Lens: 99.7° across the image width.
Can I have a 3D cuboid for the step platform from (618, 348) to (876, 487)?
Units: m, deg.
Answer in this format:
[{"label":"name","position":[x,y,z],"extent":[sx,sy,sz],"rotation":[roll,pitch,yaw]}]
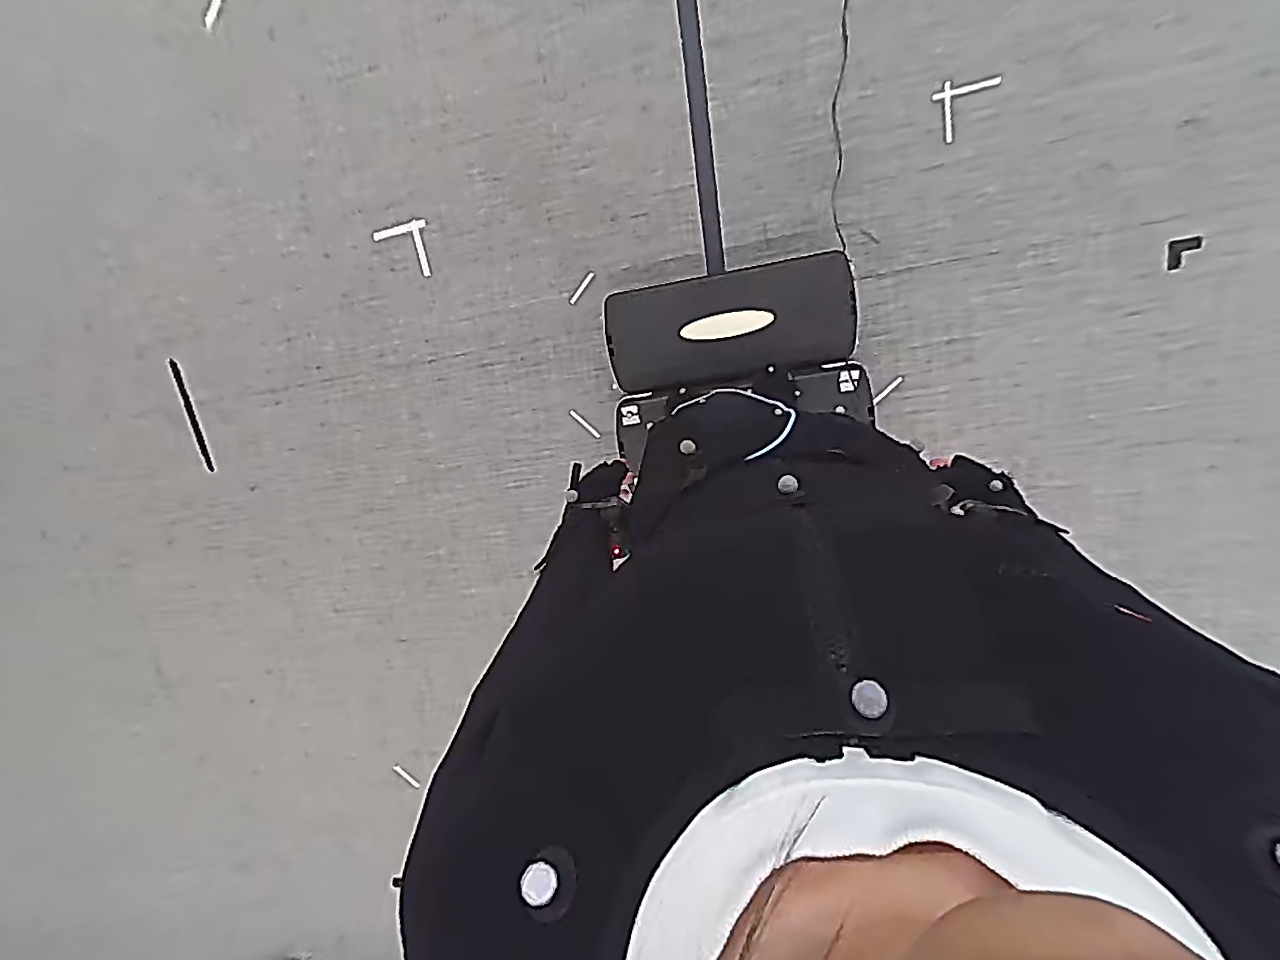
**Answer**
[{"label":"step platform","position":[0.283,-0.167,1.500],"extent":[0.684,0.204,0.286],"rotation":[-8,101,12]}]
